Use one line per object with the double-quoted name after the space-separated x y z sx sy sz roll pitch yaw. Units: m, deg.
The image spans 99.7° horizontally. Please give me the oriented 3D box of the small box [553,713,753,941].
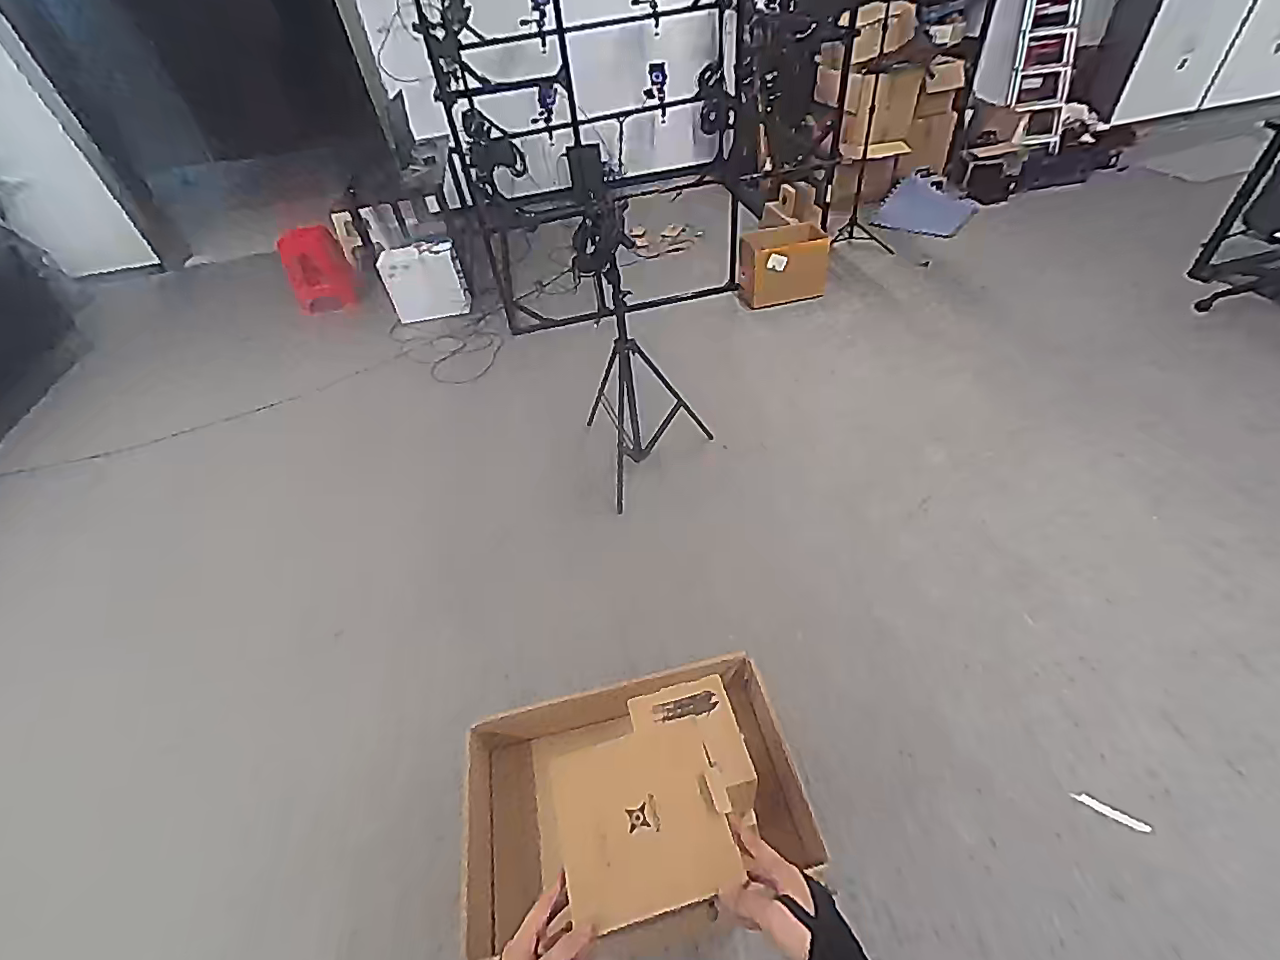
0.014 0.394 0.618 0.179 0.176 0.168 -16 49 -4 "small box"
